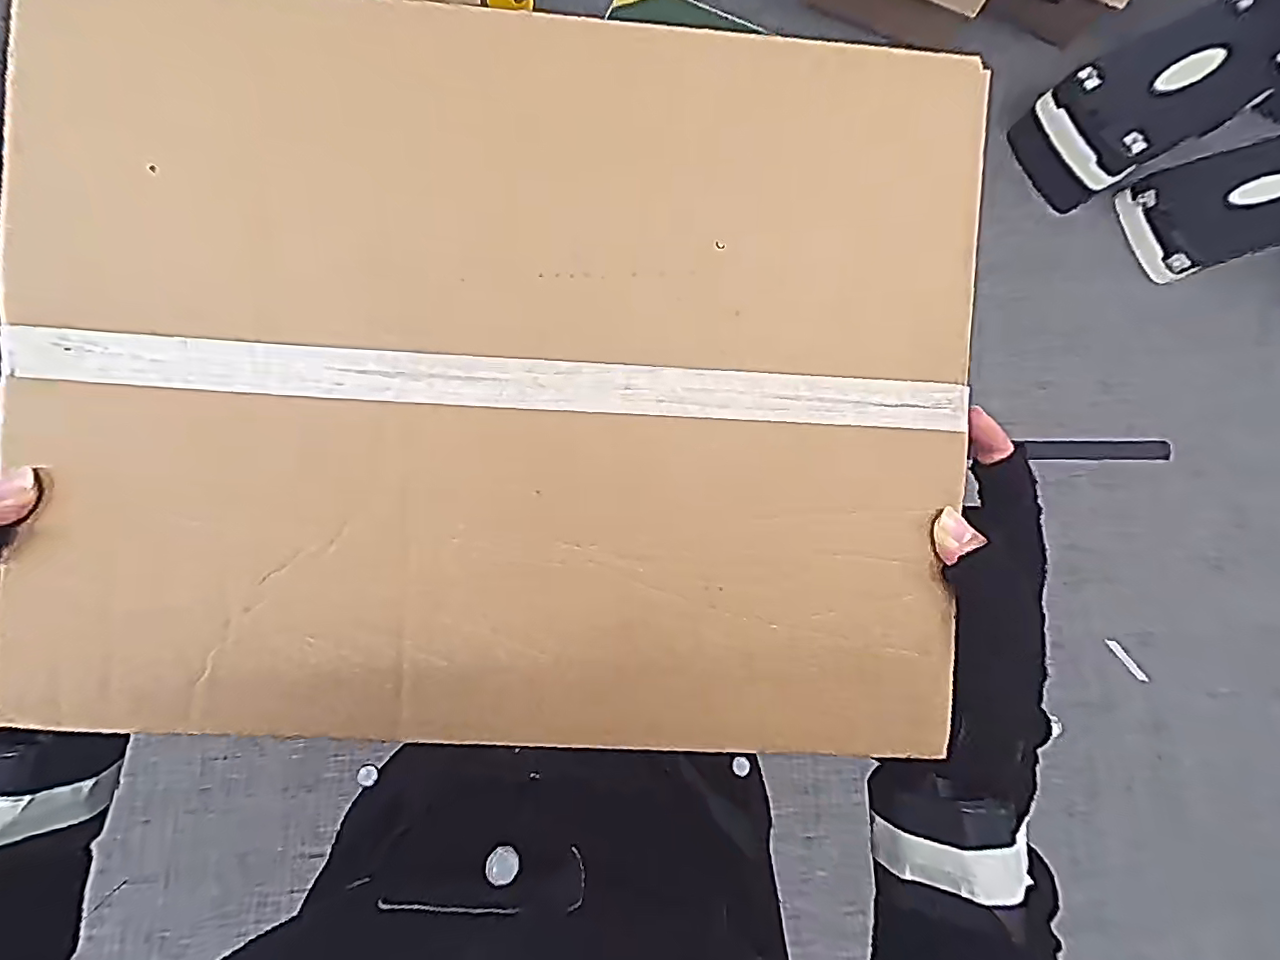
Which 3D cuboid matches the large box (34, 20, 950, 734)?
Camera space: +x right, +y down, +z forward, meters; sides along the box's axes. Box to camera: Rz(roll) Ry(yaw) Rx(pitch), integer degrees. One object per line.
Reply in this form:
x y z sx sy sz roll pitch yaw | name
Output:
-0.064 -0.042 0.394 0.408 0.320 0.320 3 90 -3 | large box
